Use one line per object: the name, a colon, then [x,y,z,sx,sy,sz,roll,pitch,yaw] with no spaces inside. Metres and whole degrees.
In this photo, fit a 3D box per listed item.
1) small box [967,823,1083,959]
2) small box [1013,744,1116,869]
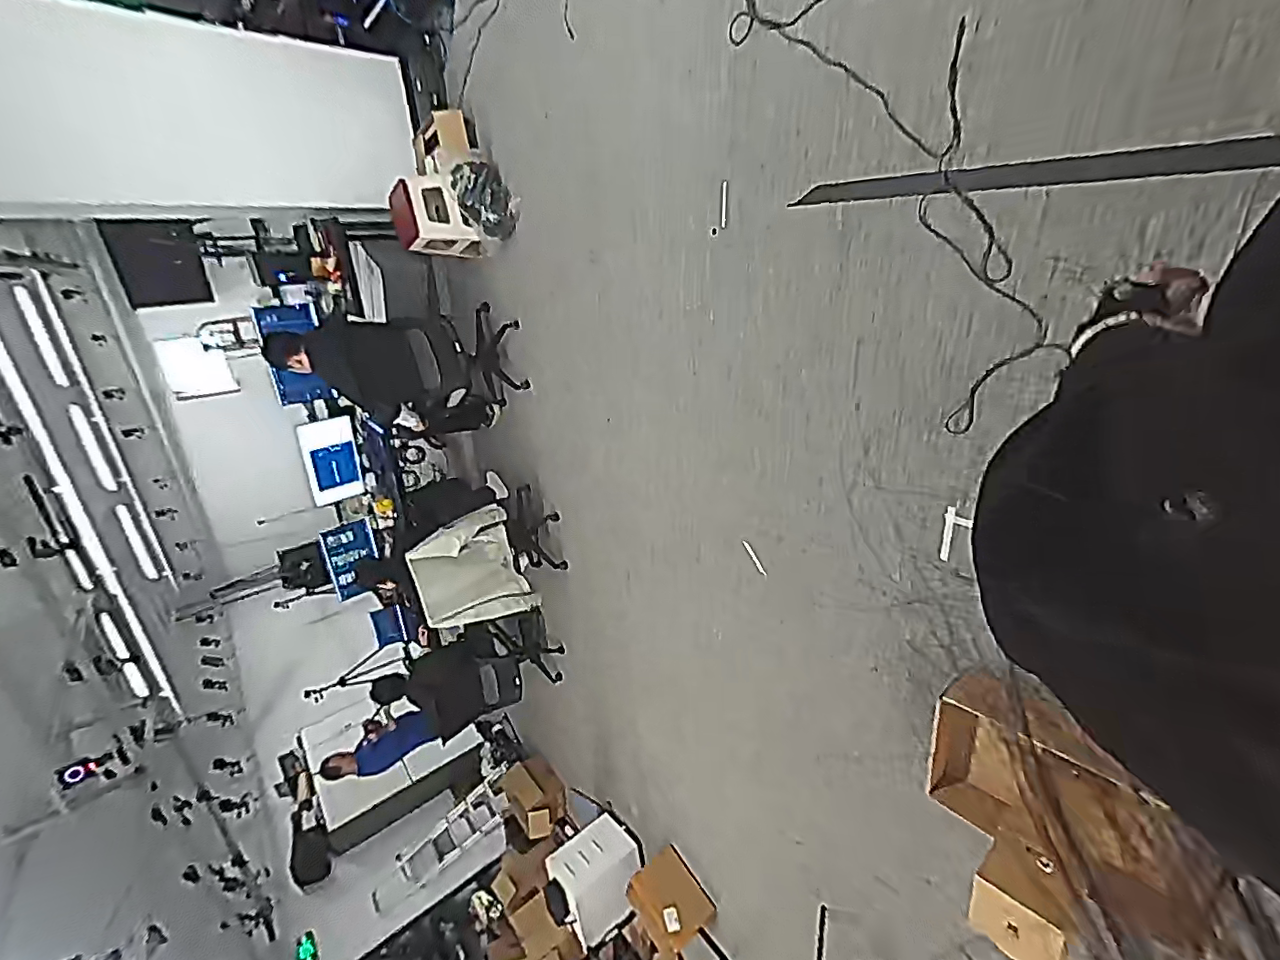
small box: [0.853,0.923,1.199,0.168,0.176,0.179,14,118,48]
small box: [1.097,0.835,1.397,0.168,0.176,0.179,16,119,48]
